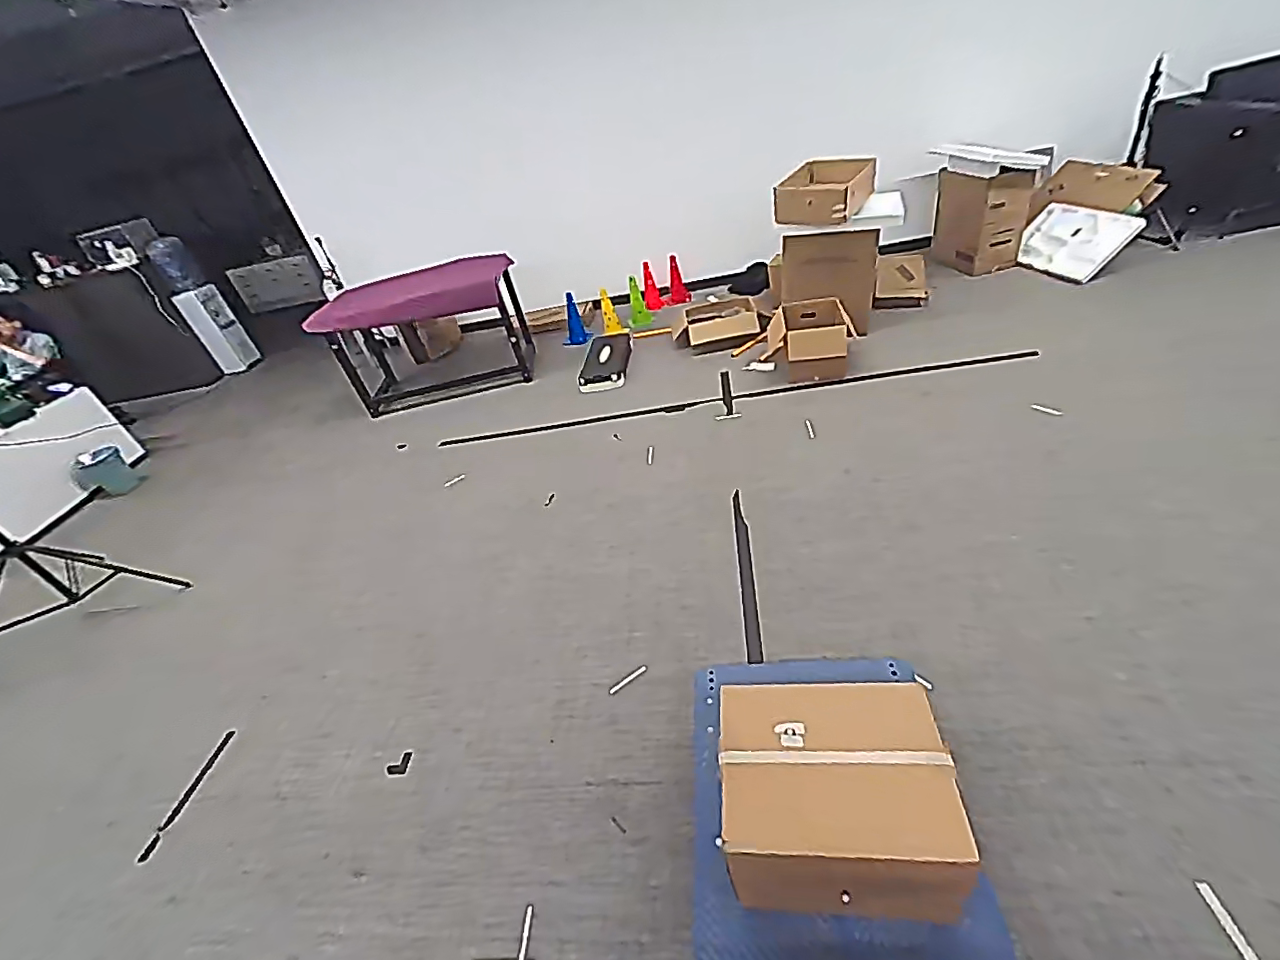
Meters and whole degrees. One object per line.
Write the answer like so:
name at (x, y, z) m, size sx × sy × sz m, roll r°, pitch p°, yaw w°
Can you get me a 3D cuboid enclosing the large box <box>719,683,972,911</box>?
large box at (0.385, 0.645, 1.103) m, size 0.408 × 0.320 × 0.320 m, roll -7°, pitch 36°, yaw 12°
